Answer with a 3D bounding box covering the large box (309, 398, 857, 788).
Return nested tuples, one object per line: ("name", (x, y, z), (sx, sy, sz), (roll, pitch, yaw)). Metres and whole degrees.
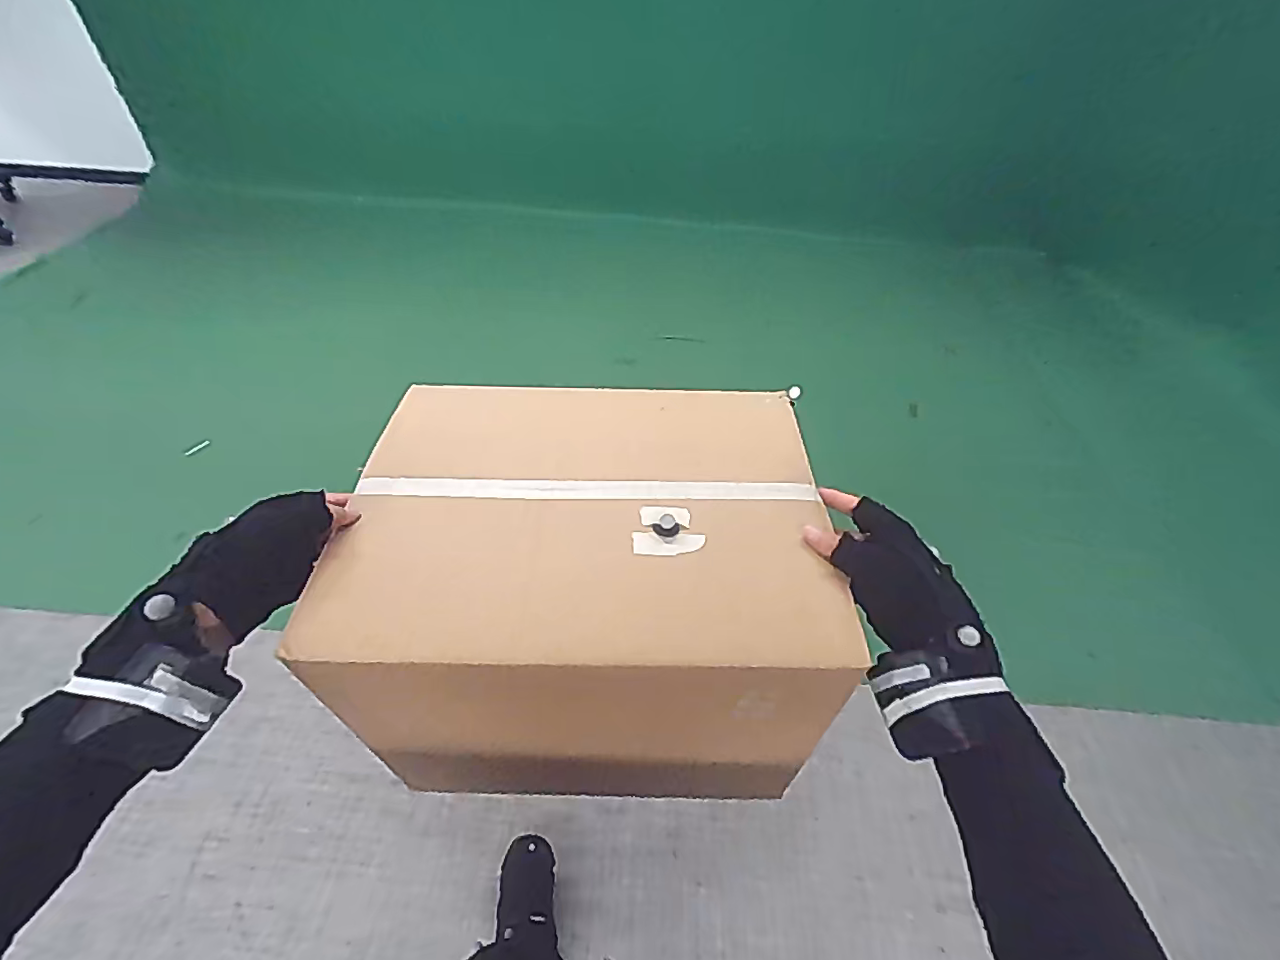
("large box", (-0.043, 0.122, 0.594), (0.408, 0.320, 0.320), (1, 46, 0))
